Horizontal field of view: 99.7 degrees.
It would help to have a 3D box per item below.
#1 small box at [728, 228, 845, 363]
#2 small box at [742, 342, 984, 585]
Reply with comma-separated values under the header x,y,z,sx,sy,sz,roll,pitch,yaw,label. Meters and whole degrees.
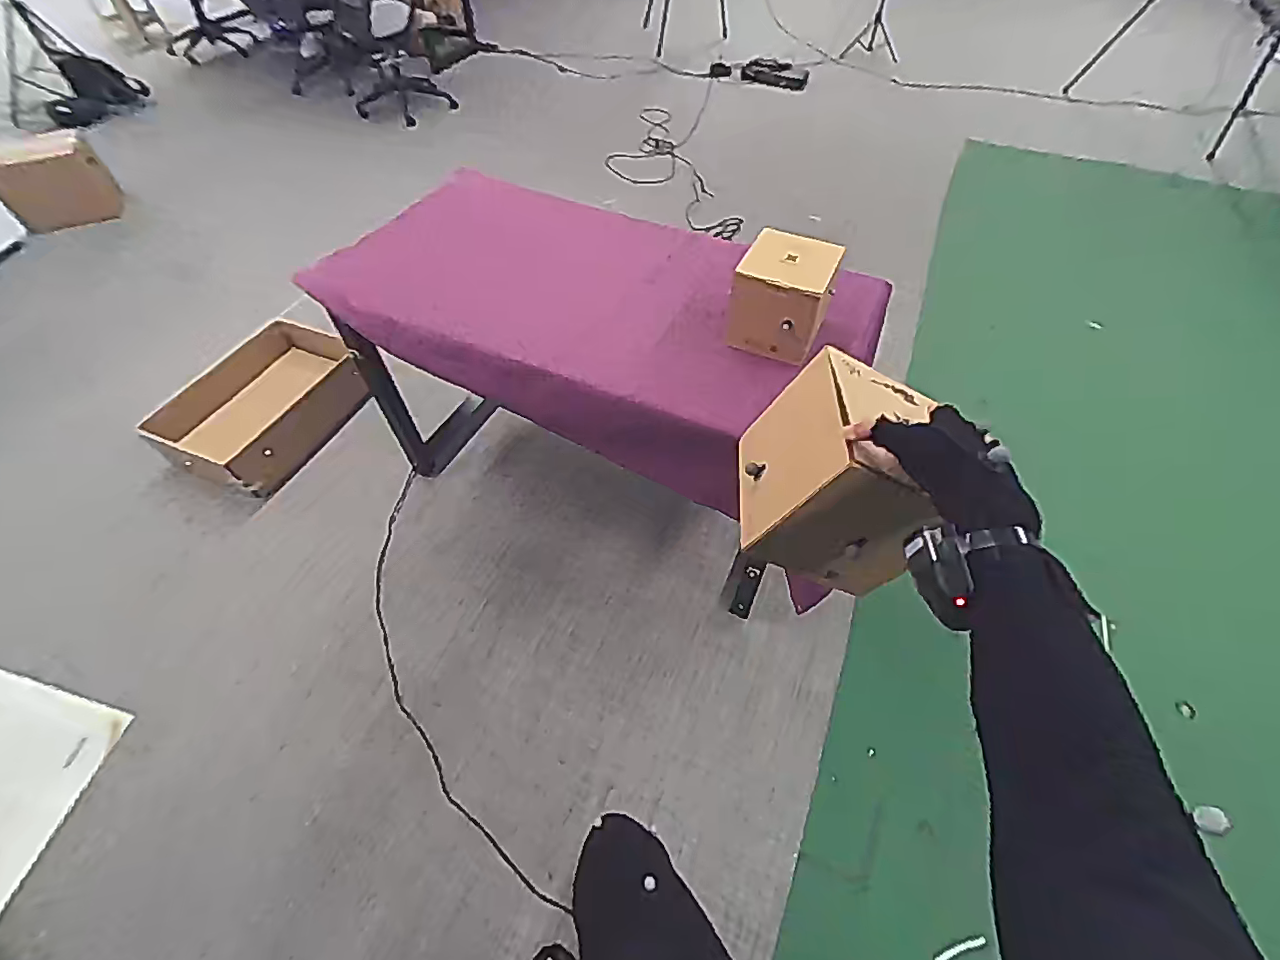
x,y,z,sx,sy,sz,roll,pitch,yaw,label
0.282,-0.362,1.071,0.168,0.176,0.179,22,56,15,small box
0.226,-0.009,0.596,0.168,0.176,0.179,23,47,-16,small box
